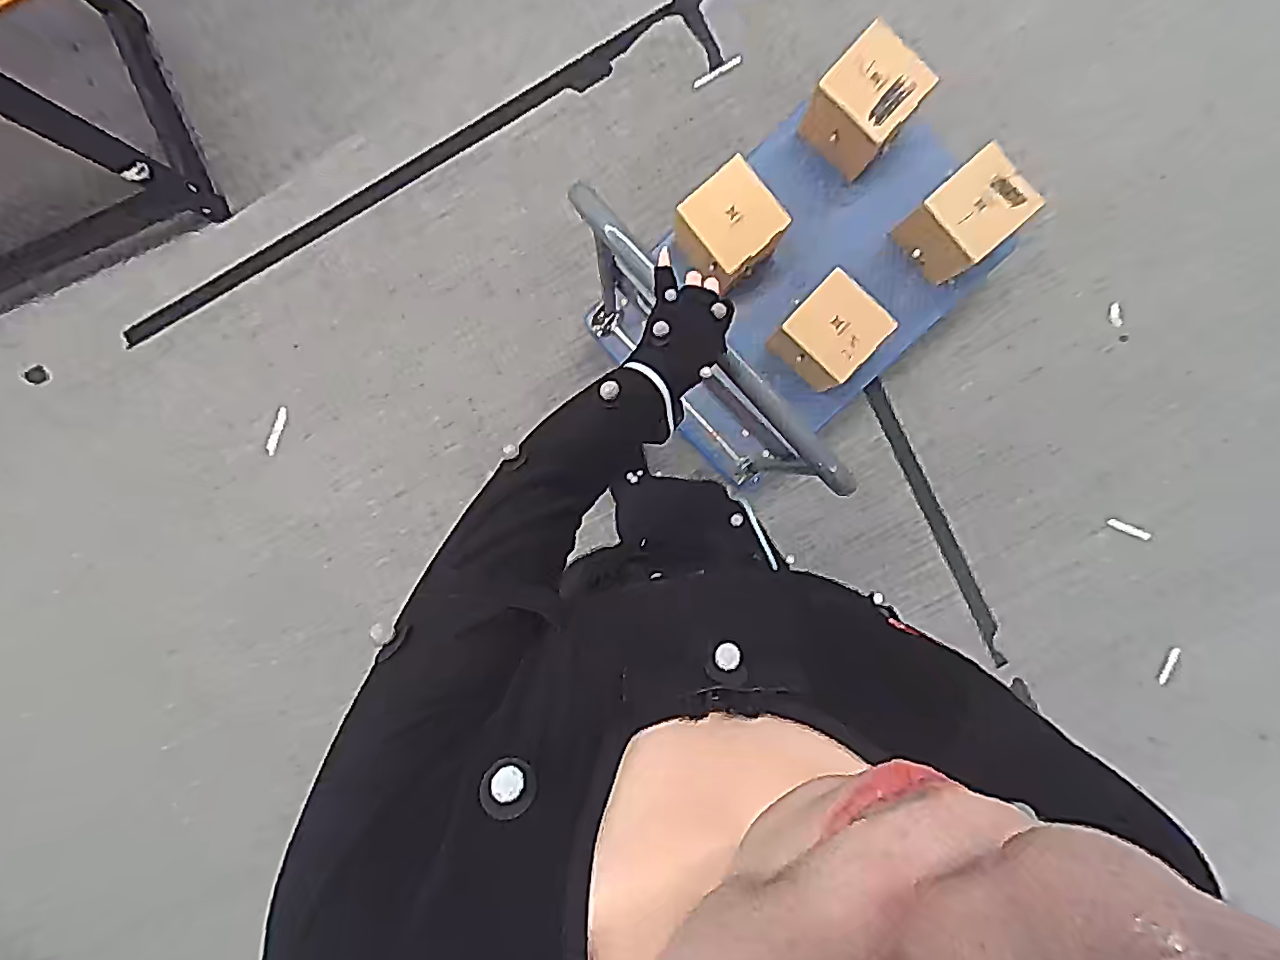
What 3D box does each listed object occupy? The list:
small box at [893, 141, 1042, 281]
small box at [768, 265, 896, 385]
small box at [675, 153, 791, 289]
[{"bbox_3d":[0.684,-0.560,1.151,0.179,0.176,0.168,-41,92,5],"label":"small box"},{"bbox_3d":[0.405,-0.324,1.177,0.179,0.176,0.168,44,94,-2],"label":"small box"},{"bbox_3d":[0.189,-0.546,1.167,0.168,0.176,0.179,-40,94,3],"label":"small box"}]
